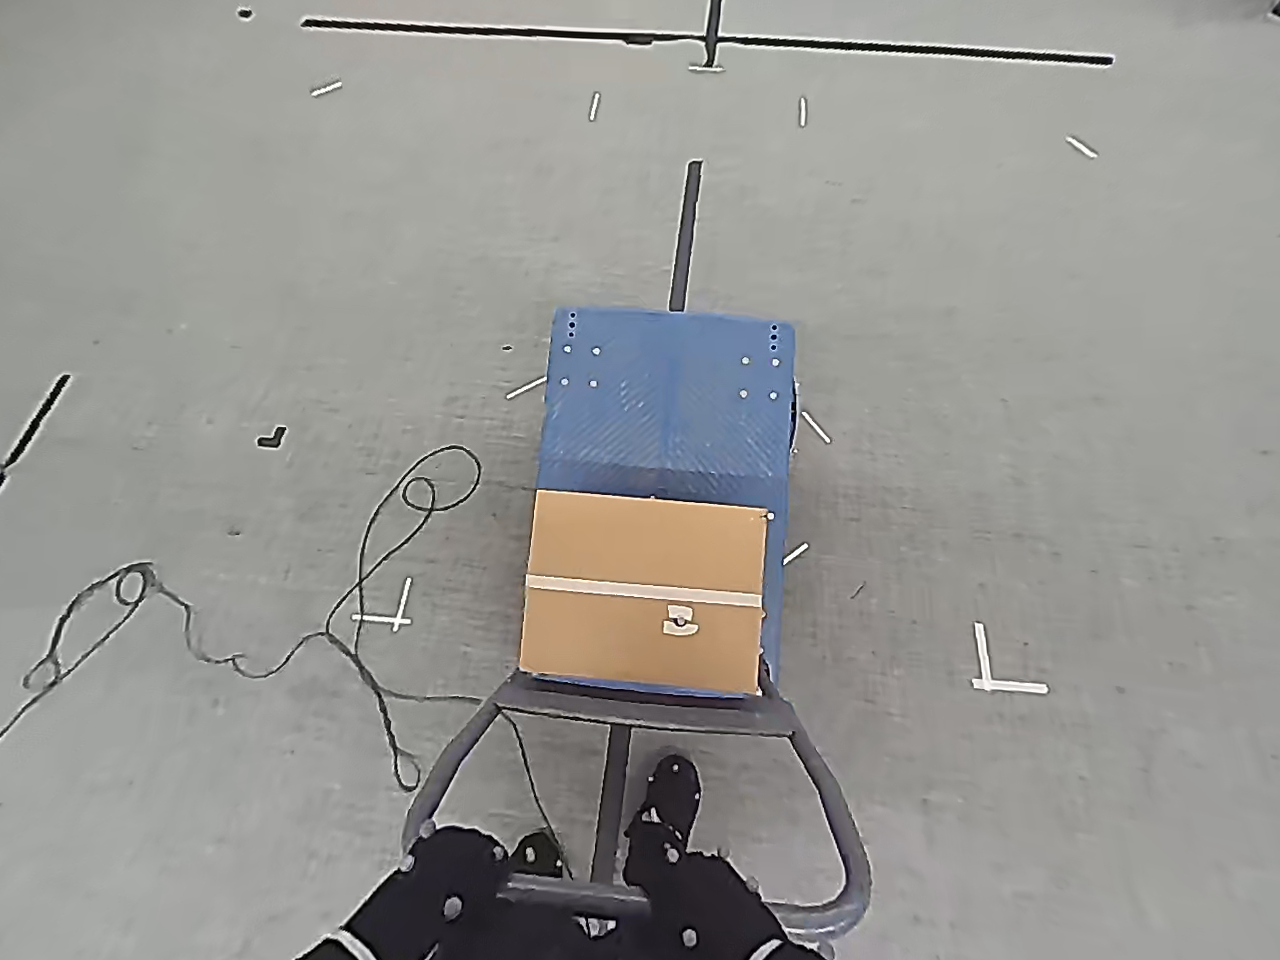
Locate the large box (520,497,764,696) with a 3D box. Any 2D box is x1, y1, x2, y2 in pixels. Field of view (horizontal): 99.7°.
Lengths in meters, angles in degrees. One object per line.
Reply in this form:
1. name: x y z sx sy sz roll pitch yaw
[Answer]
1. large box: 0.006 0.211 1.067 0.408 0.320 0.320 5 85 2
